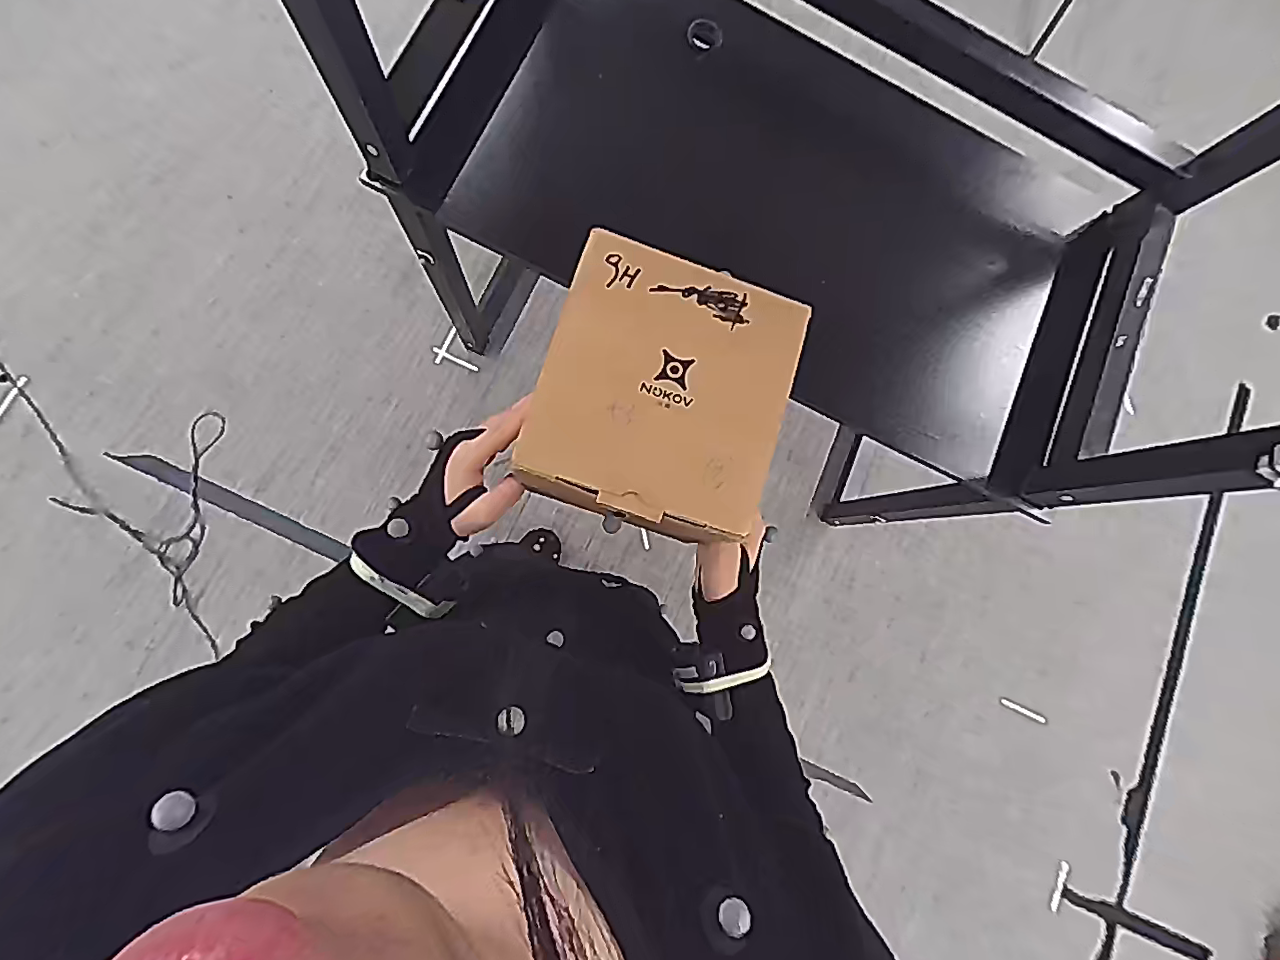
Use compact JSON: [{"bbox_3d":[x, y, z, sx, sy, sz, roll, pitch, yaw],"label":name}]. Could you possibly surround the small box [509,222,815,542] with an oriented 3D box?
[{"bbox_3d":[0.009,-0.058,0.434,0.168,0.176,0.179,18,82,-6],"label":"small box"}]
